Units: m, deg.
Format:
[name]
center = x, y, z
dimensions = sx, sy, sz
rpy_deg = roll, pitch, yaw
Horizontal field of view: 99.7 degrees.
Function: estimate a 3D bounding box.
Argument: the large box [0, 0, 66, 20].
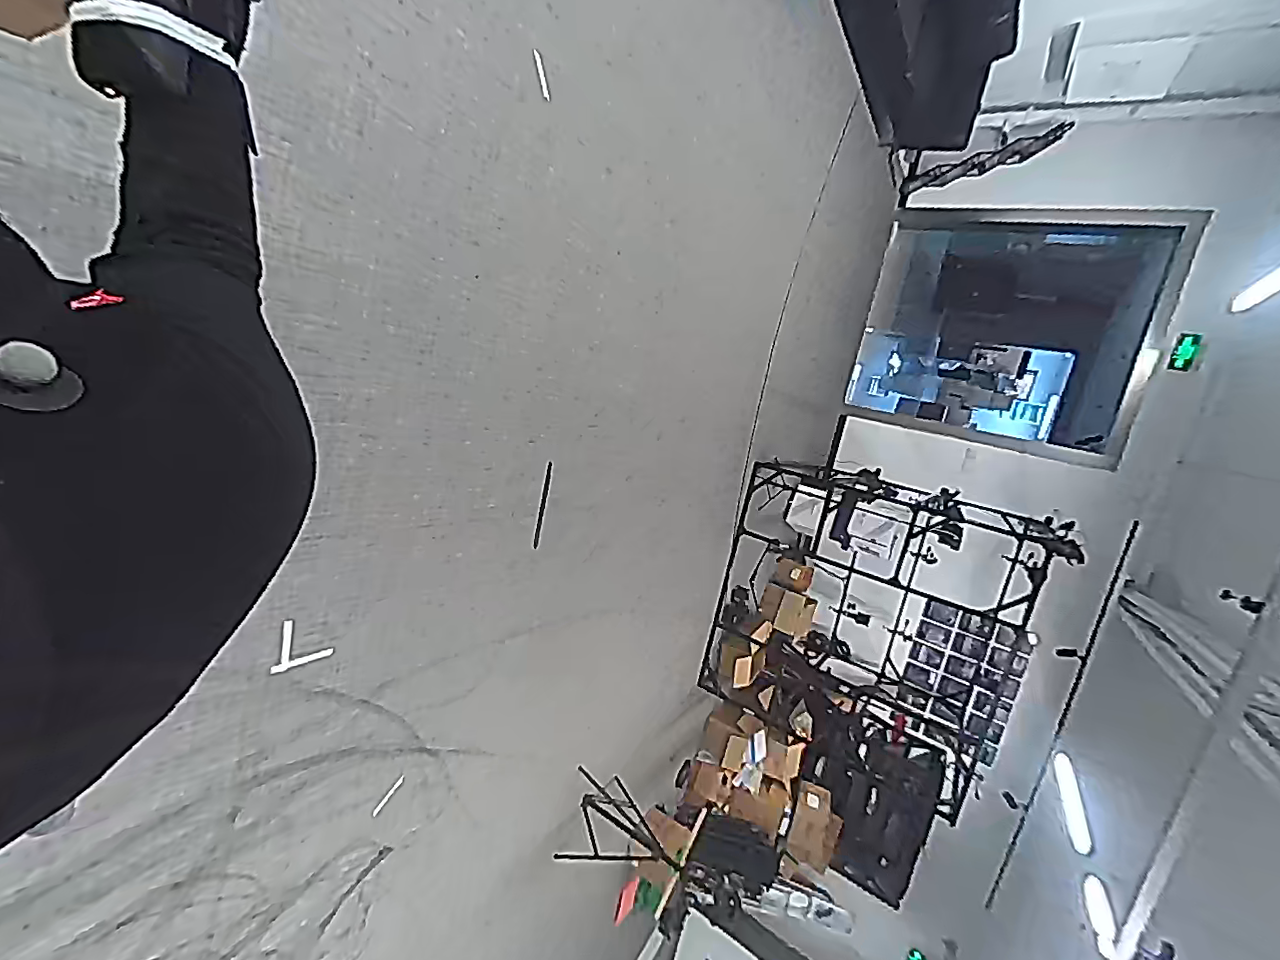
[large box]
center = -0.533, -0.508, 0.234
dimensions = 0.408, 0.320, 0.320
rpy_deg = -7, 115, -57
